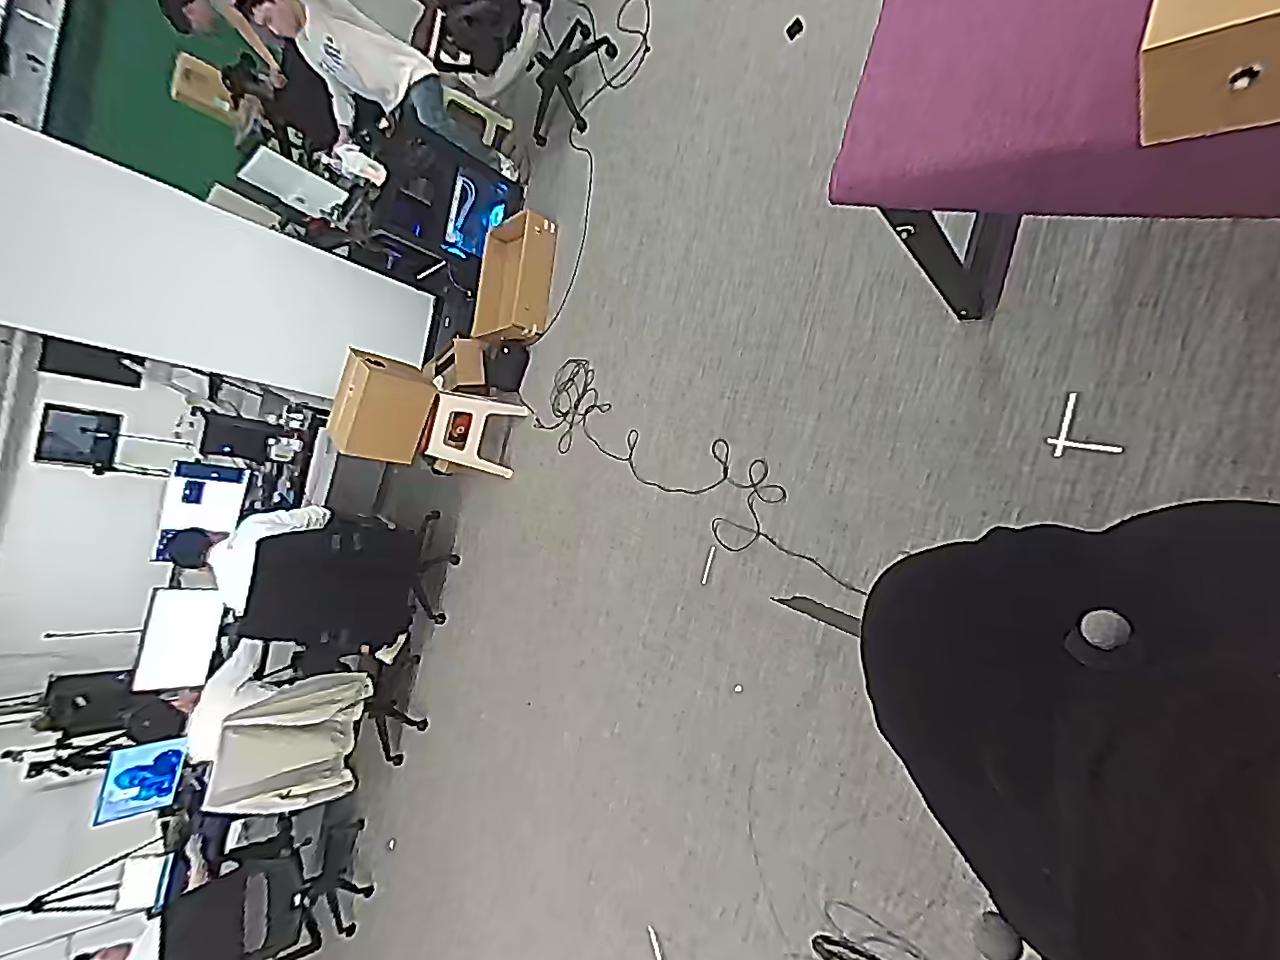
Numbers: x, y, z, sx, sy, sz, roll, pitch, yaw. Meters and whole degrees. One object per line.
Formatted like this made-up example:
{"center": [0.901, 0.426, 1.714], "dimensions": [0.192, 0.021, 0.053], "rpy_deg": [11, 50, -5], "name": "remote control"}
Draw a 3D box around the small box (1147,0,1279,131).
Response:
{"center": [0.639, -0.488, 0.531], "dimensions": [0.179, 0.176, 0.168], "rpy_deg": [16, 92, 46], "name": "small box"}
